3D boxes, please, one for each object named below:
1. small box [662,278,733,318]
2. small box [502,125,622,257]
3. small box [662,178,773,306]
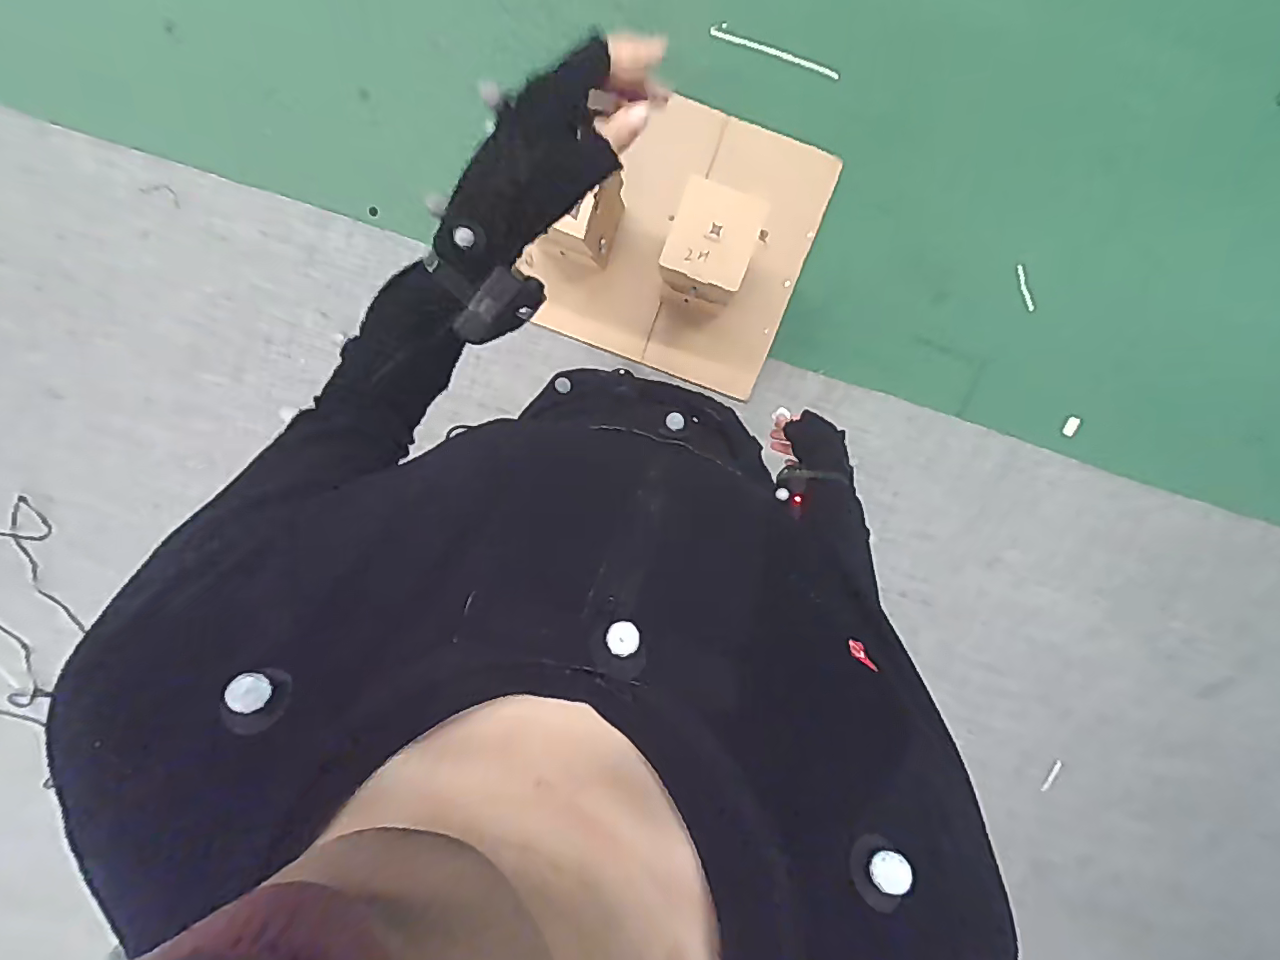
[{"bbox_3d":[0.155,-0.495,1.268,0.168,0.176,0.179,18,102,0],"label":"small box"},{"bbox_3d":[-0.148,-0.572,1.100,0.179,0.176,0.168,23,102,1],"label":"small box"},{"bbox_3d":[0.149,-0.473,1.103,0.168,0.176,0.179,21,102,0],"label":"small box"}]
